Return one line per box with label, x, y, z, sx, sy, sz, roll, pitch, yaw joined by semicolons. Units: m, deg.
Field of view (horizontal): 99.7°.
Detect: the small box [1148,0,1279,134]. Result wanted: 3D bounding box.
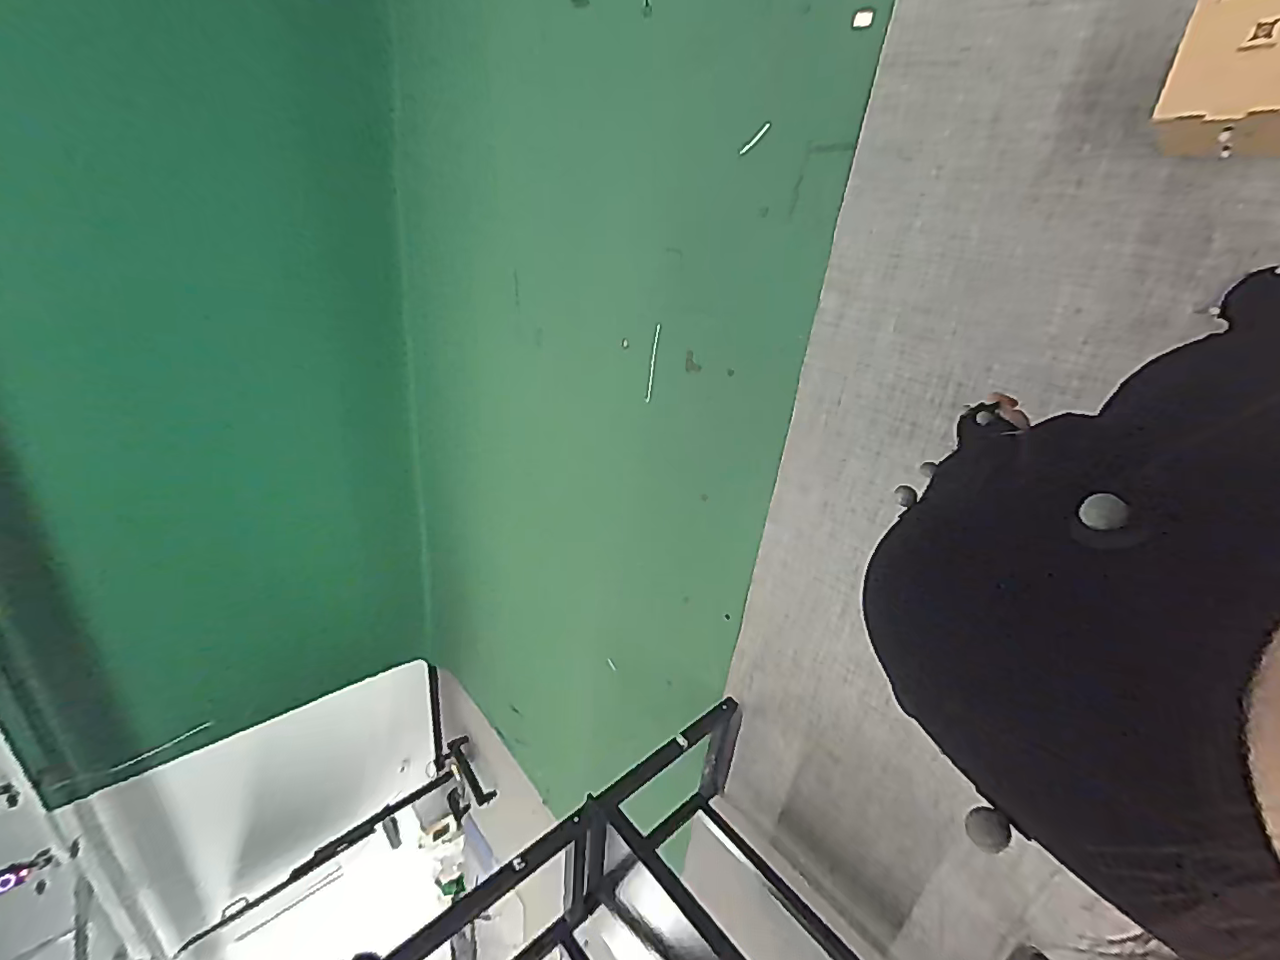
small box;0.884;-0.611;0.776;0.168;0.176;0.179;27;122;41
